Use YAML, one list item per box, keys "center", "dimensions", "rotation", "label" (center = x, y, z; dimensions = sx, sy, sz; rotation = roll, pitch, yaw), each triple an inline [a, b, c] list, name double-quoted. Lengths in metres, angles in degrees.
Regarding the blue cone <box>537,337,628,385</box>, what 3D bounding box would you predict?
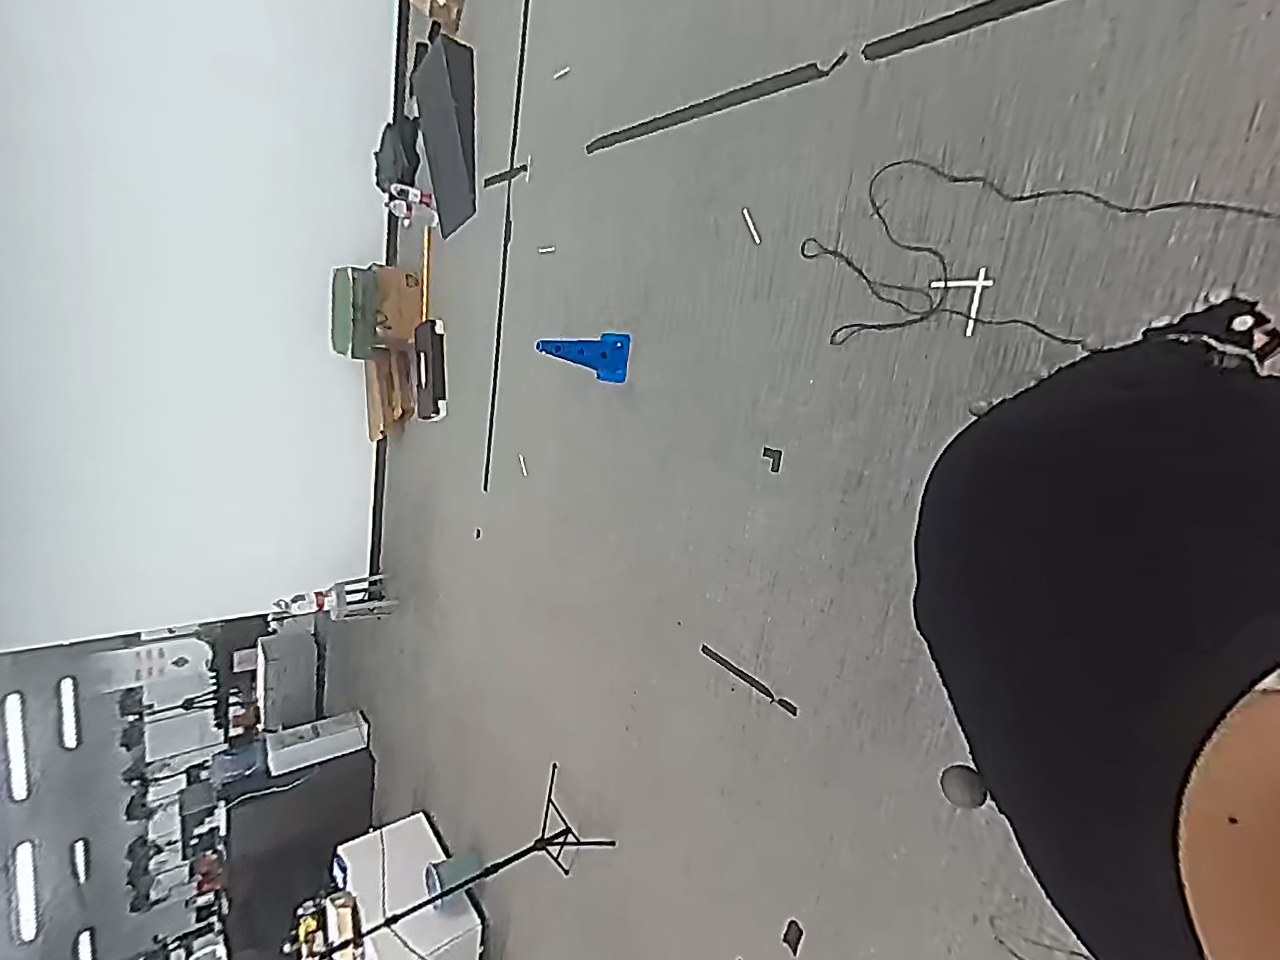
- center: [-0.238, -0.497, 2.158]
  dimensions: [0.193, 0.380, 0.192]
  rotation: [22, 108, 47]
  label: "blue cone"
